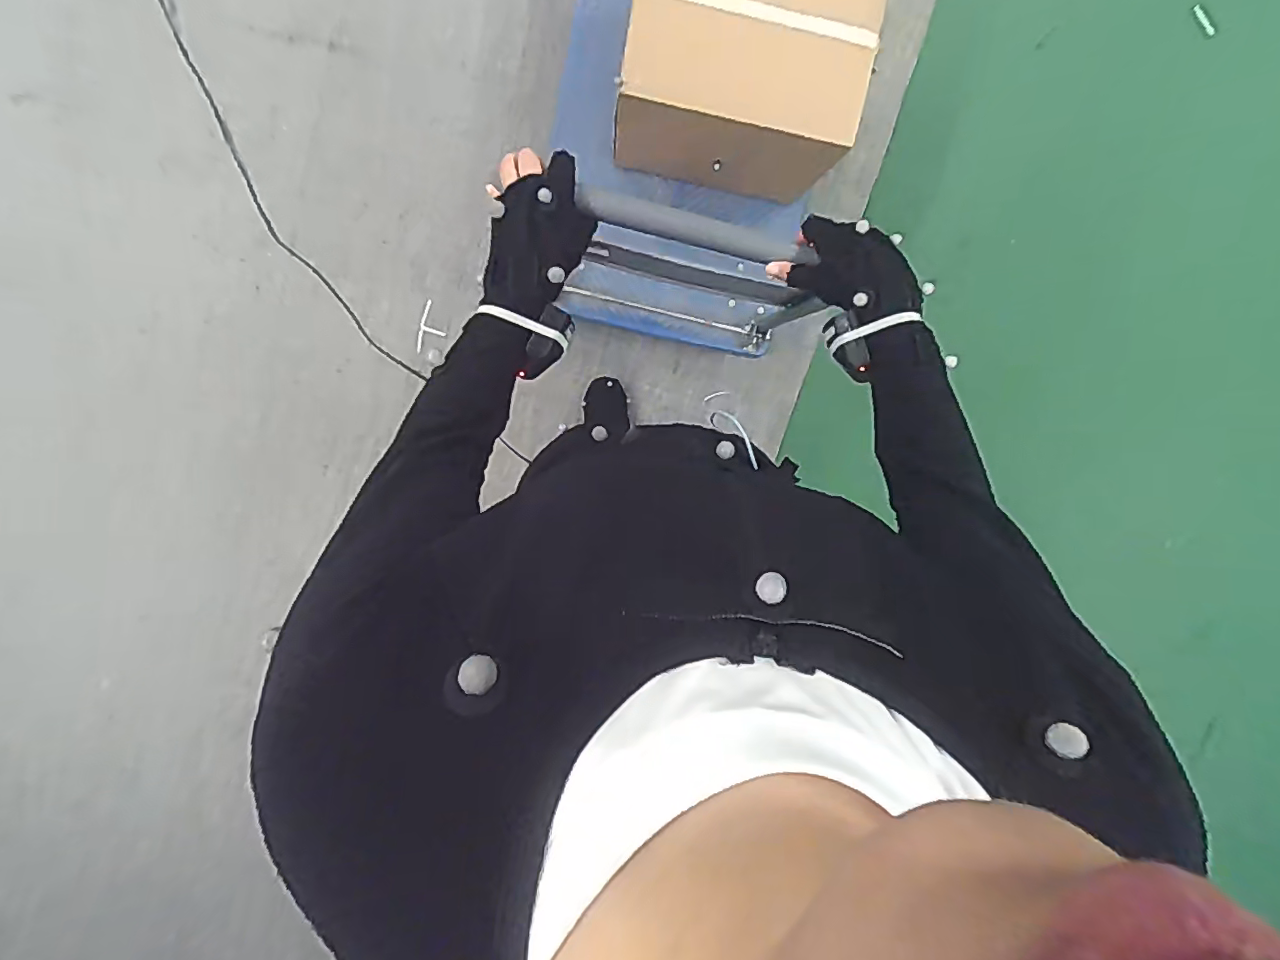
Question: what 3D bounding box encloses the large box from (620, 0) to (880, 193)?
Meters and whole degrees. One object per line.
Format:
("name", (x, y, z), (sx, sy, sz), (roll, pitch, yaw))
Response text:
("large box", (0.183, -0.782, 1.025), (0.408, 0.320, 0.320), (9, 100, -4))
